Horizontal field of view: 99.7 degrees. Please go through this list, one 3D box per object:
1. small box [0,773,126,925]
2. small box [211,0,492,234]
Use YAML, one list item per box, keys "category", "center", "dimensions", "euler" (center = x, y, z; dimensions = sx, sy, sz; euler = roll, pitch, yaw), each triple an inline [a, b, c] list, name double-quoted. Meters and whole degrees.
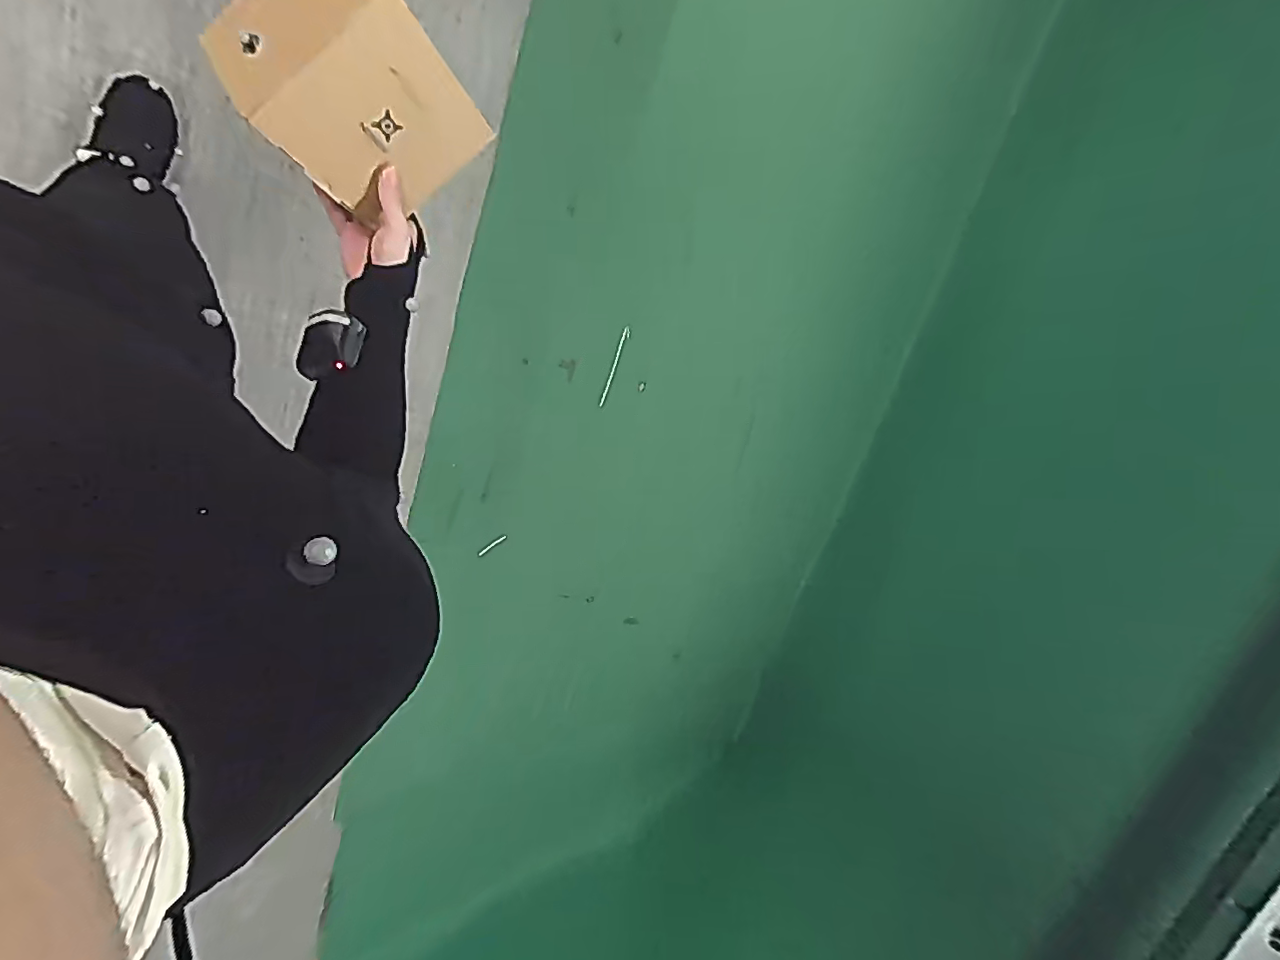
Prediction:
- category: "small box"
  center: [-1.168, 0.724, 1.080]
  dimensions: [0.179, 0.176, 0.168]
  euler: [11, 105, -48]
- category: "small box"
  center: [-0.294, -0.406, 0.556]
  dimensions: [0.179, 0.176, 0.168]
  euler: [-39, 158, 5]
